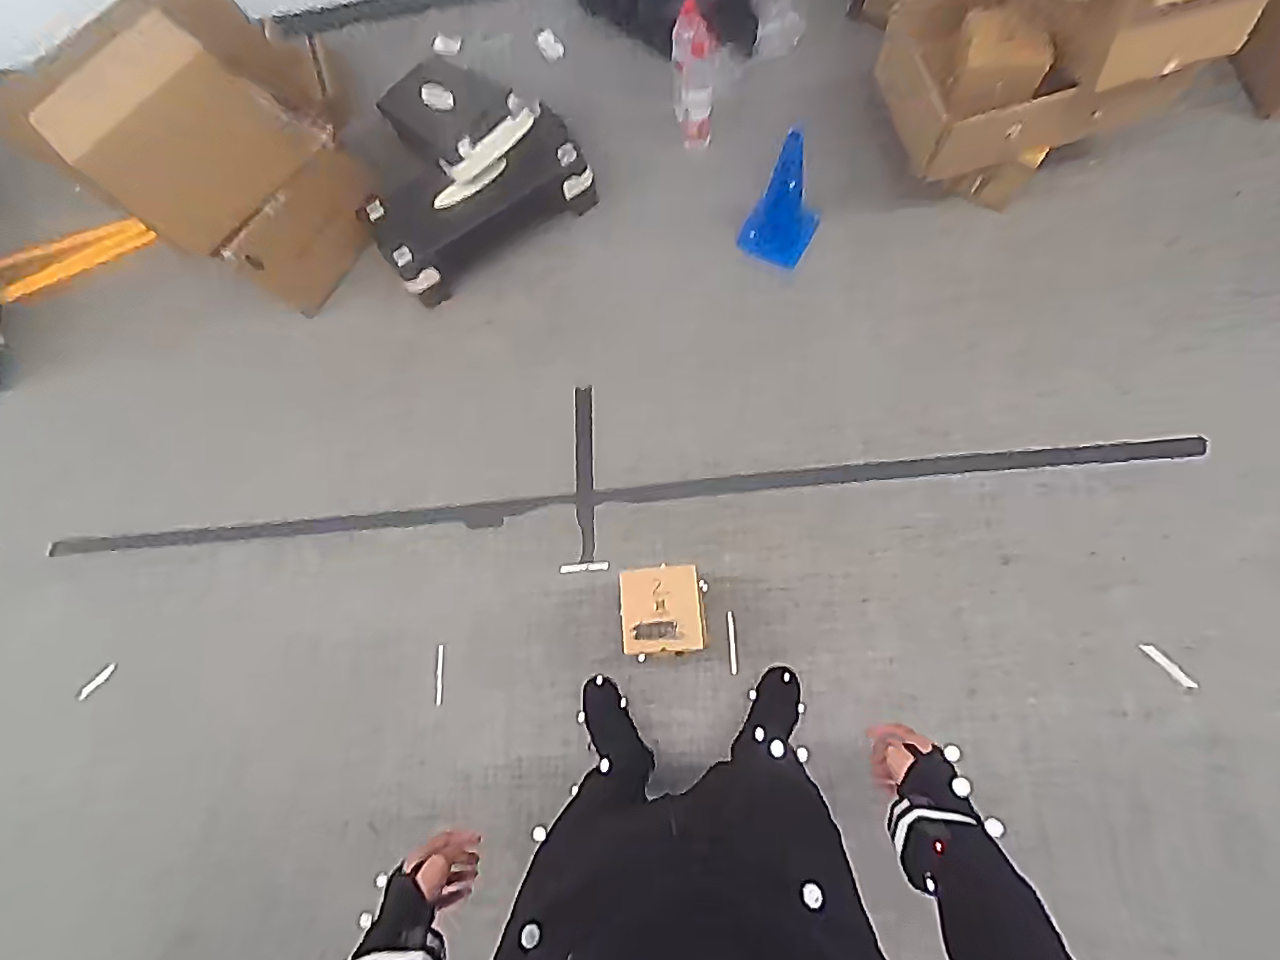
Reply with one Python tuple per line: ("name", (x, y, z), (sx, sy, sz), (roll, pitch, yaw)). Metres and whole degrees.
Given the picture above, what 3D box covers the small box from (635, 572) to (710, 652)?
("small box", (0.084, 0.331, 1.363), (0.168, 0.176, 0.179), (-8, 77, 6))
